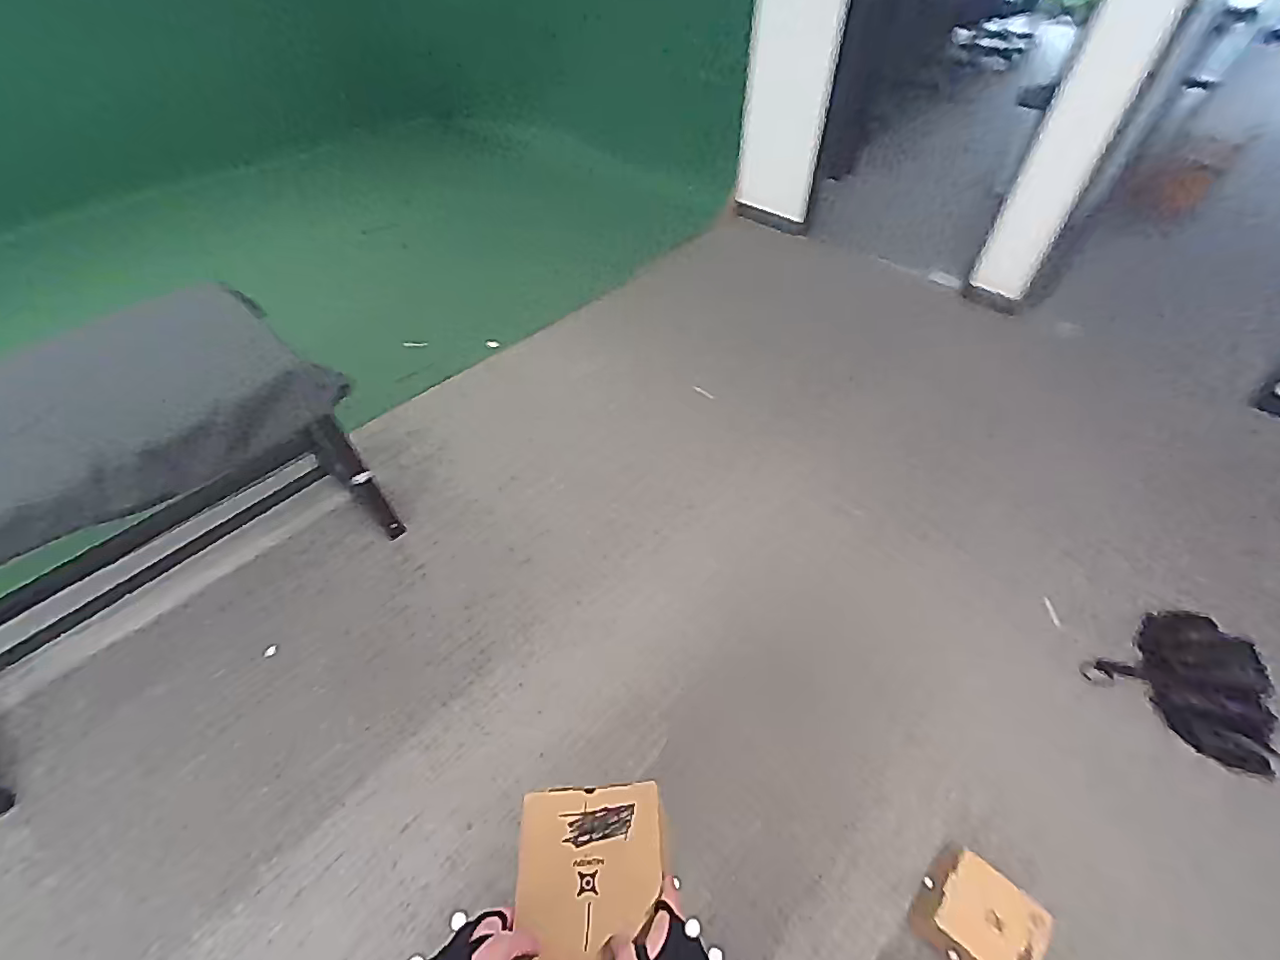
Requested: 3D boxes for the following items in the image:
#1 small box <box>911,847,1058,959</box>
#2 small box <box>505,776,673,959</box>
[{"bbox_3d":[0.690,0.901,1.102,0.179,0.176,0.168,34,58,27],"label":"small box"},{"bbox_3d":[-0.051,0.478,0.647,0.168,0.176,0.179,-6,48,2],"label":"small box"}]
